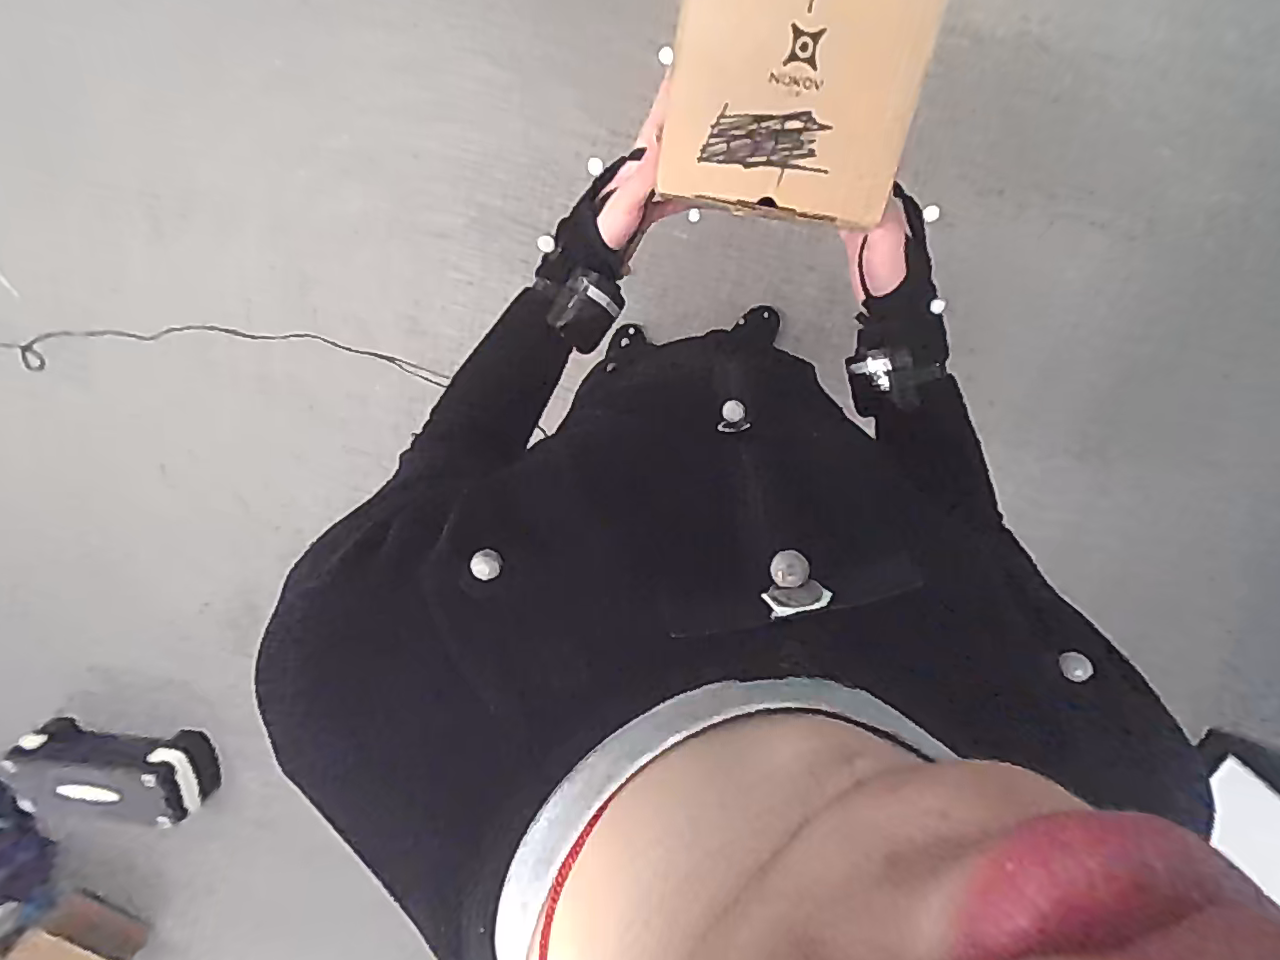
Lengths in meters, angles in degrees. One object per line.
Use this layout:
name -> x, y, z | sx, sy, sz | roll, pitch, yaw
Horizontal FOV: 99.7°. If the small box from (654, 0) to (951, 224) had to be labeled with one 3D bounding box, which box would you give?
small box -> 0.110, -0.306, 0.417 | 0.168, 0.176, 0.179 | 10, 115, 0
